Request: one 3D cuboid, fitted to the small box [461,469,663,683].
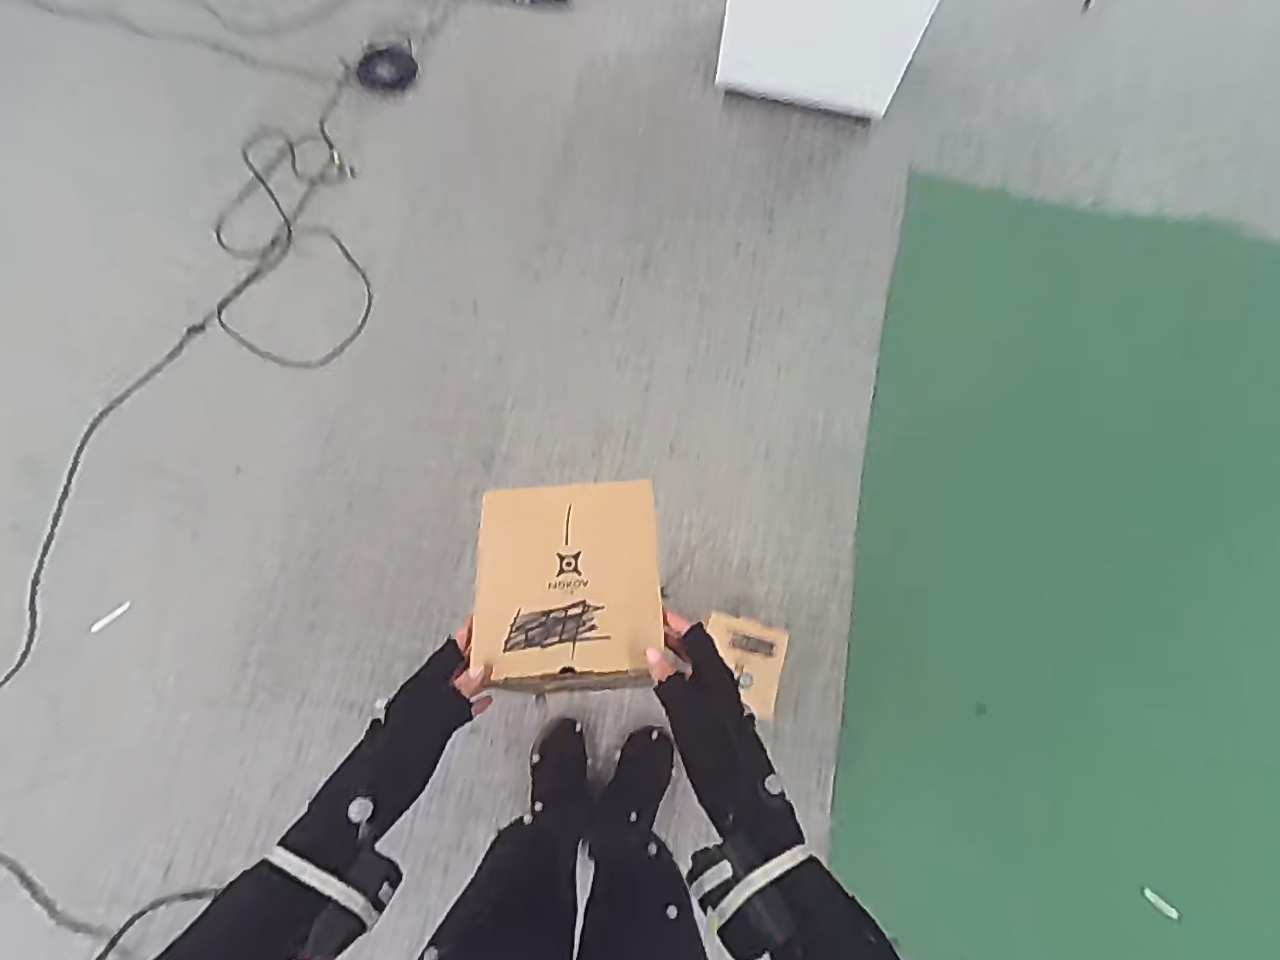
[{"bbox_3d":[-0.066,0.107,0.547,0.168,0.176,0.179,-5,64,1],"label":"small box"}]
